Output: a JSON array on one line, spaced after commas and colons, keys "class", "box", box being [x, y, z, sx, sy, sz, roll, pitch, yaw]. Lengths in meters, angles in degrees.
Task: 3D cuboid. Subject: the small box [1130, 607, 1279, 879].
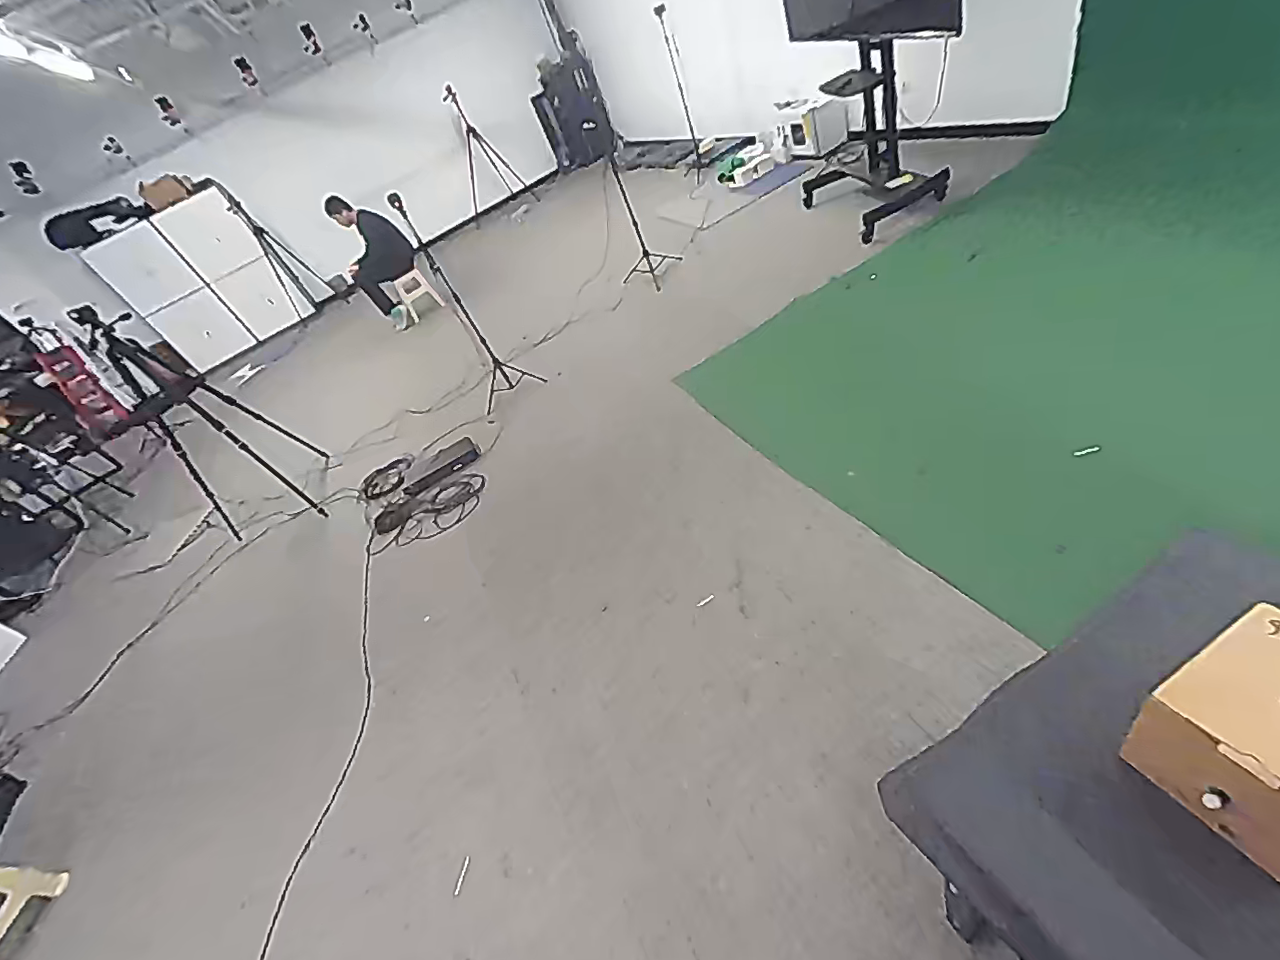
[{"class": "small box", "box": [0.664, 0.277, 0.564, 0.179, 0.176, 0.168, -33, 39, -7]}]
